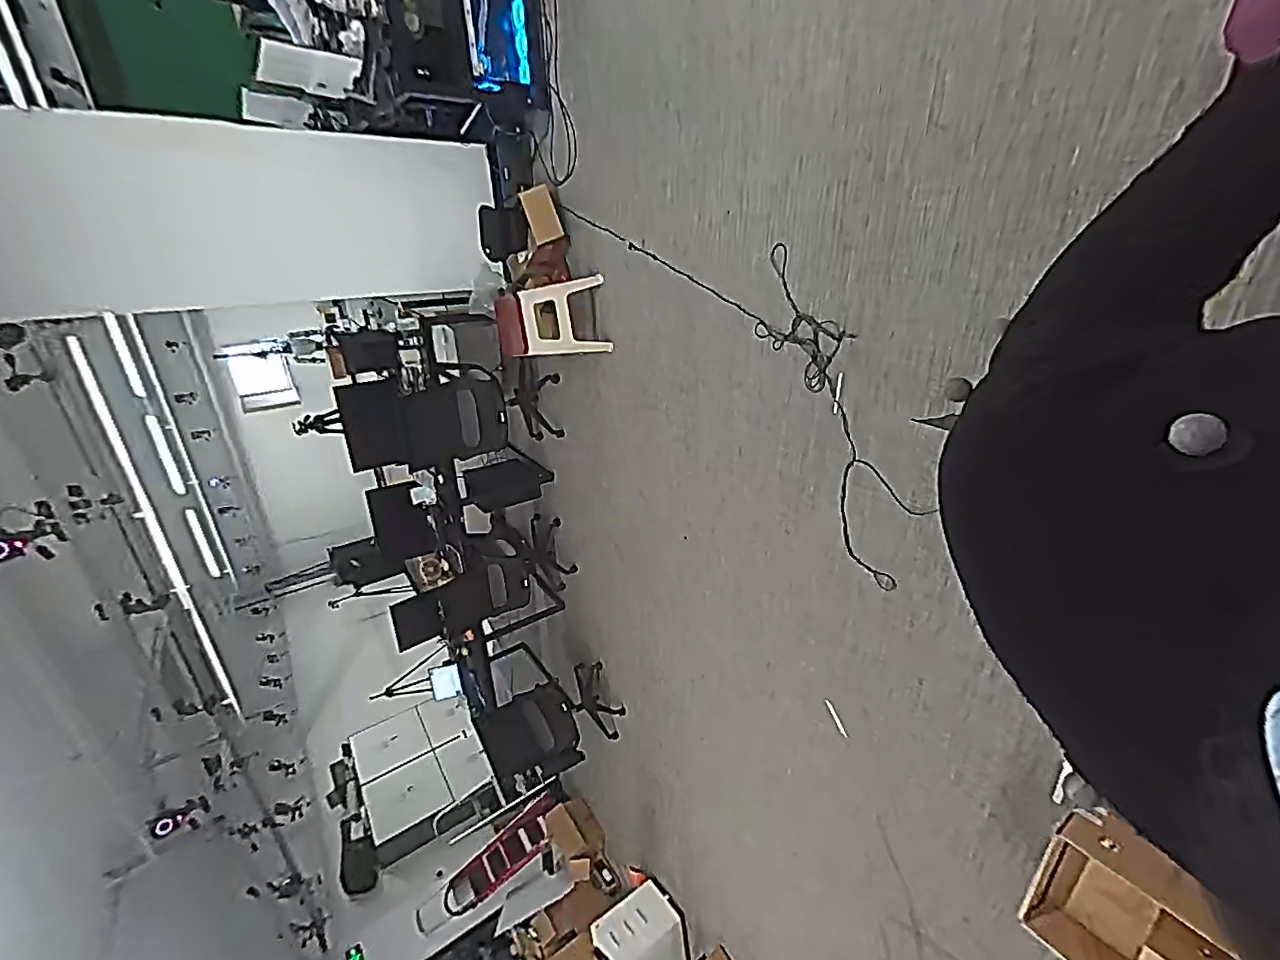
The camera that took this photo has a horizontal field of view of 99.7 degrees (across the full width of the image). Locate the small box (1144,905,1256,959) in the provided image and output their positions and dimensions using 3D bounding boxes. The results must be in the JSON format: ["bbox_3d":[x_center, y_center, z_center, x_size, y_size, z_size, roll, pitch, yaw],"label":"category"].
[{"bbox_3d":[1.294,1.150,1.252,0.168,0.176,0.179,25,125,52],"label":"small box"}]
